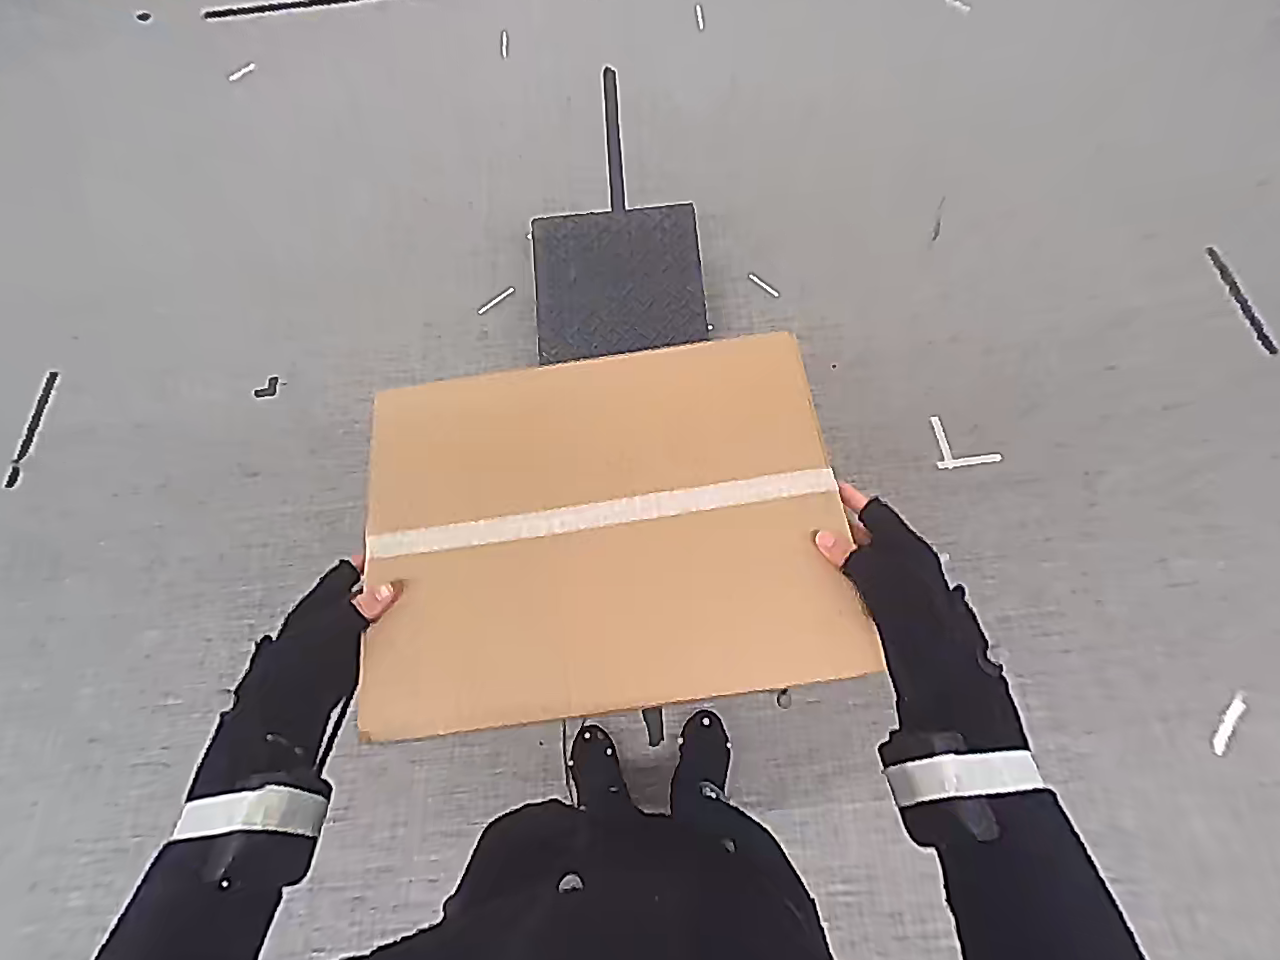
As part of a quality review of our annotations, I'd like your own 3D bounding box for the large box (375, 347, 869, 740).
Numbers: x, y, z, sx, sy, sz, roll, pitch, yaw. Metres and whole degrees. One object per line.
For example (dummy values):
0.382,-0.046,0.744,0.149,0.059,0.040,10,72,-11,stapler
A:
-0.023,0.087,0.617,0.408,0.320,0.320,-7,68,0,large box
